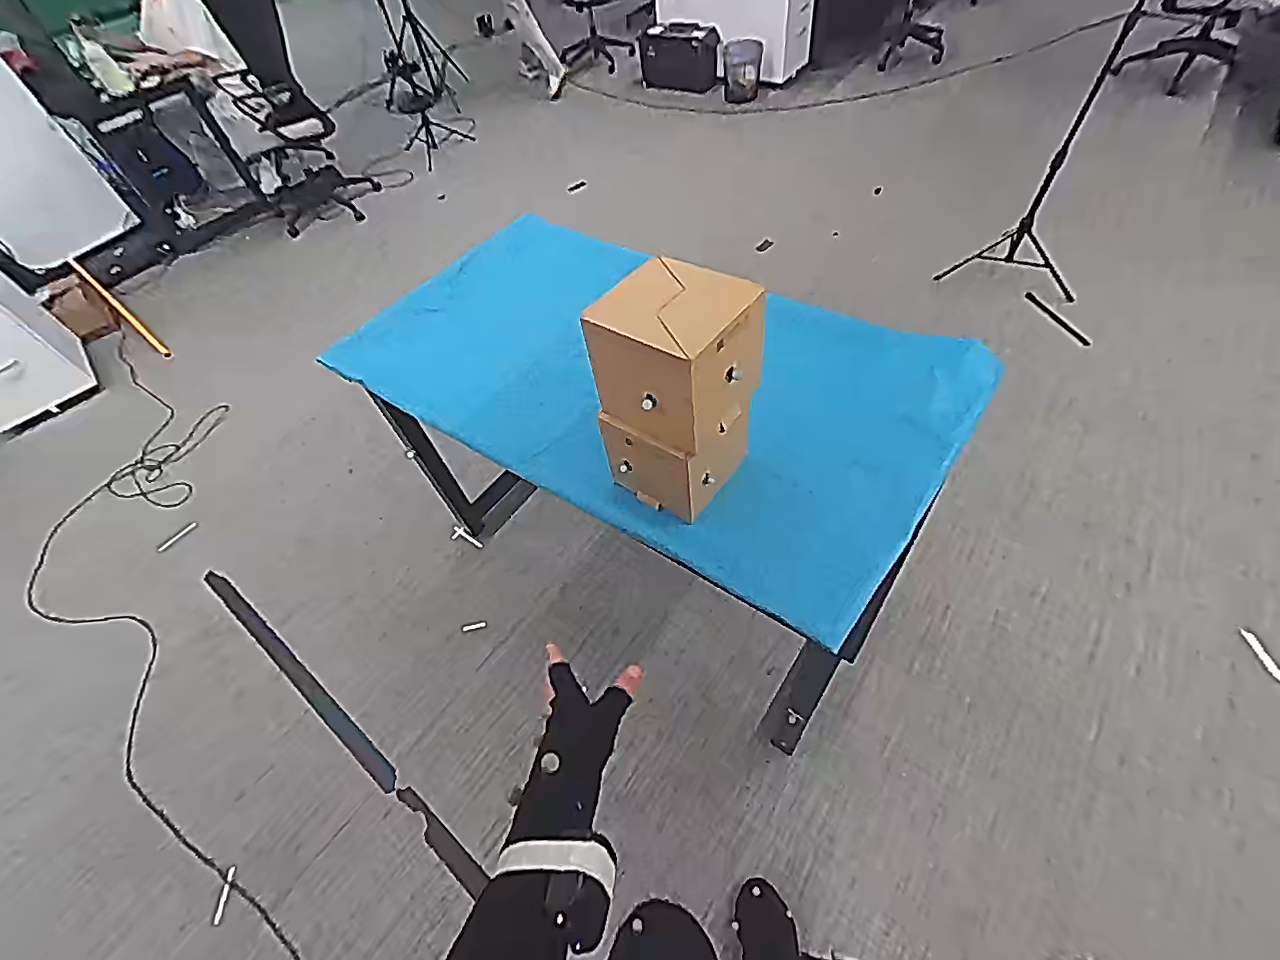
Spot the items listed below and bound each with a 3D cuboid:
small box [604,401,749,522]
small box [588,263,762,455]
[{"bbox_3d":[0.061,-0.070,0.871,0.168,0.176,0.179,28,61,26],"label":"small box"},{"bbox_3d":[0.052,-0.170,0.741,0.179,0.176,0.168,28,60,29],"label":"small box"}]
